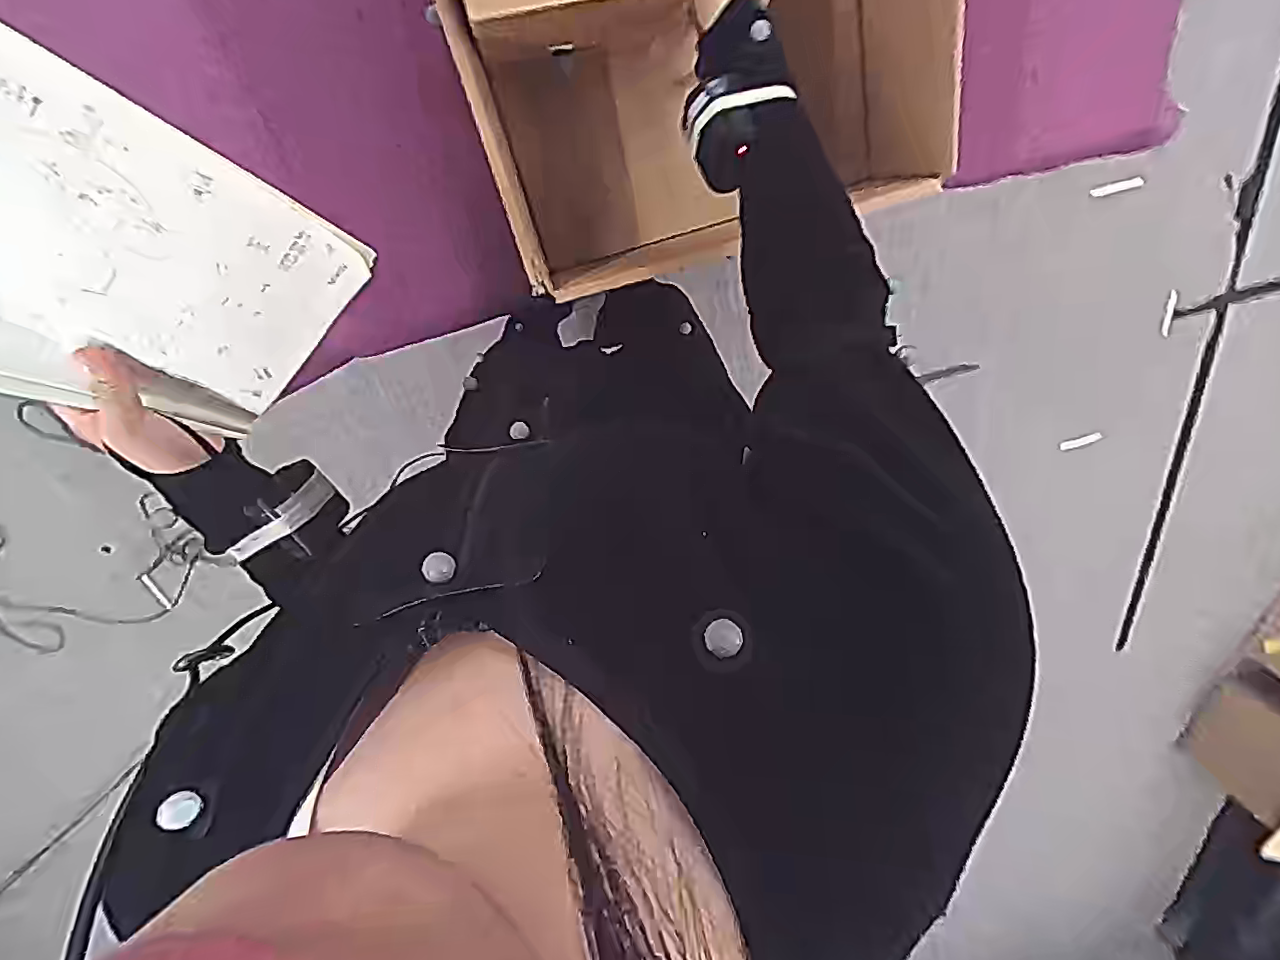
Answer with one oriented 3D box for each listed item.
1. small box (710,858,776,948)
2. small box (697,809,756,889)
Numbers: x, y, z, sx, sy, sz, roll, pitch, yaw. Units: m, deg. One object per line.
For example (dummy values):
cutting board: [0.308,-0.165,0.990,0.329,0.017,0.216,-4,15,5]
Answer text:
small box: [0.337,1.391,1.792,0.168,0.176,0.179,-14,118,-3]
small box: [0.308,1.308,1.930,0.168,0.176,0.179,-11,119,-5]
